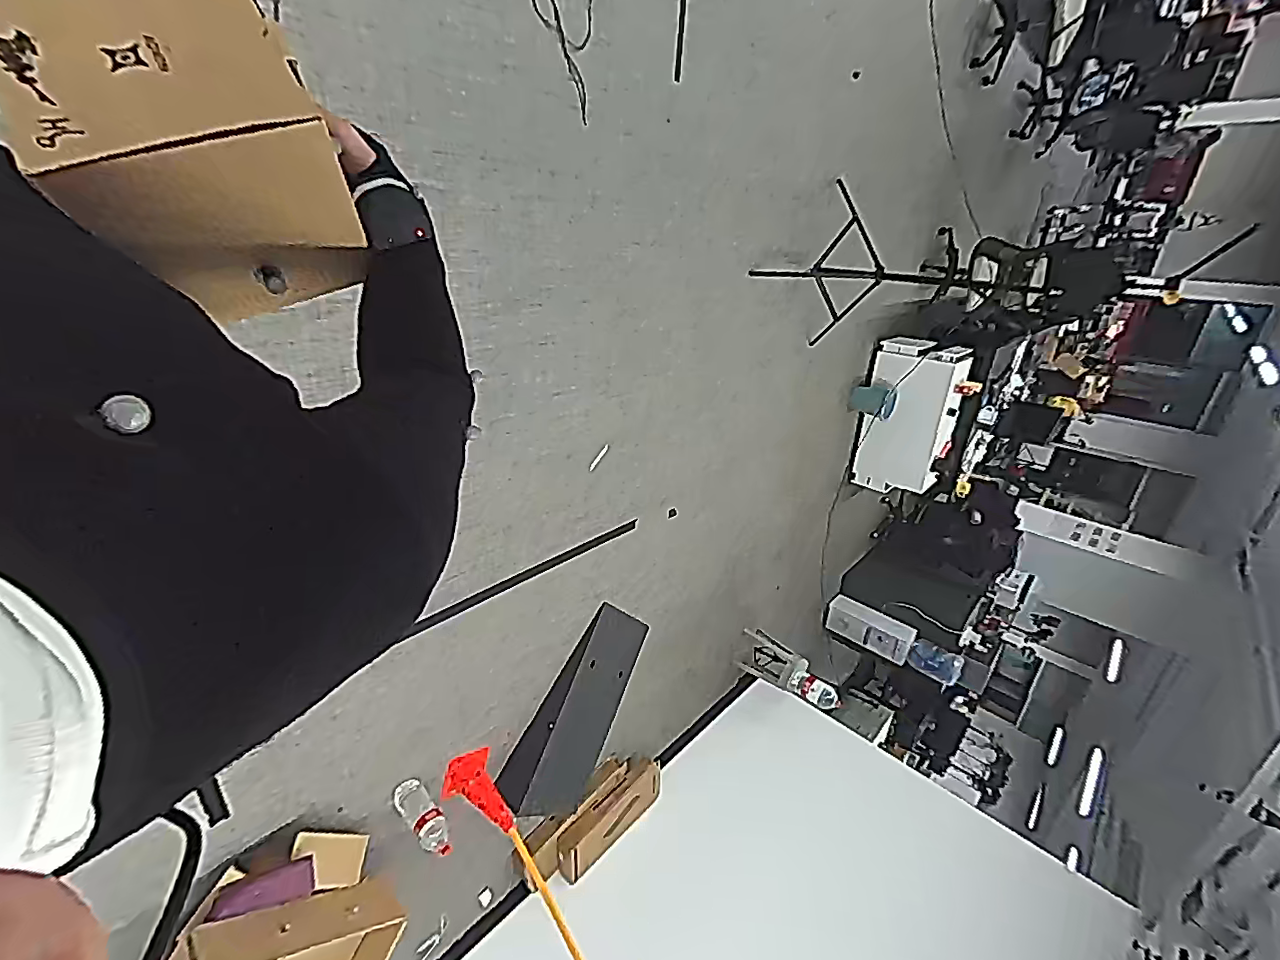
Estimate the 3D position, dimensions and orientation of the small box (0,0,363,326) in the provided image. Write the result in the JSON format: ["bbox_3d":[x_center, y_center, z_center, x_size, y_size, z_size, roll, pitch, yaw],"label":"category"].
[{"bbox_3d":[-0.362,-0.265,0.462,0.179,0.168,0.176,-27,167,-20],"label":"small box"}]
